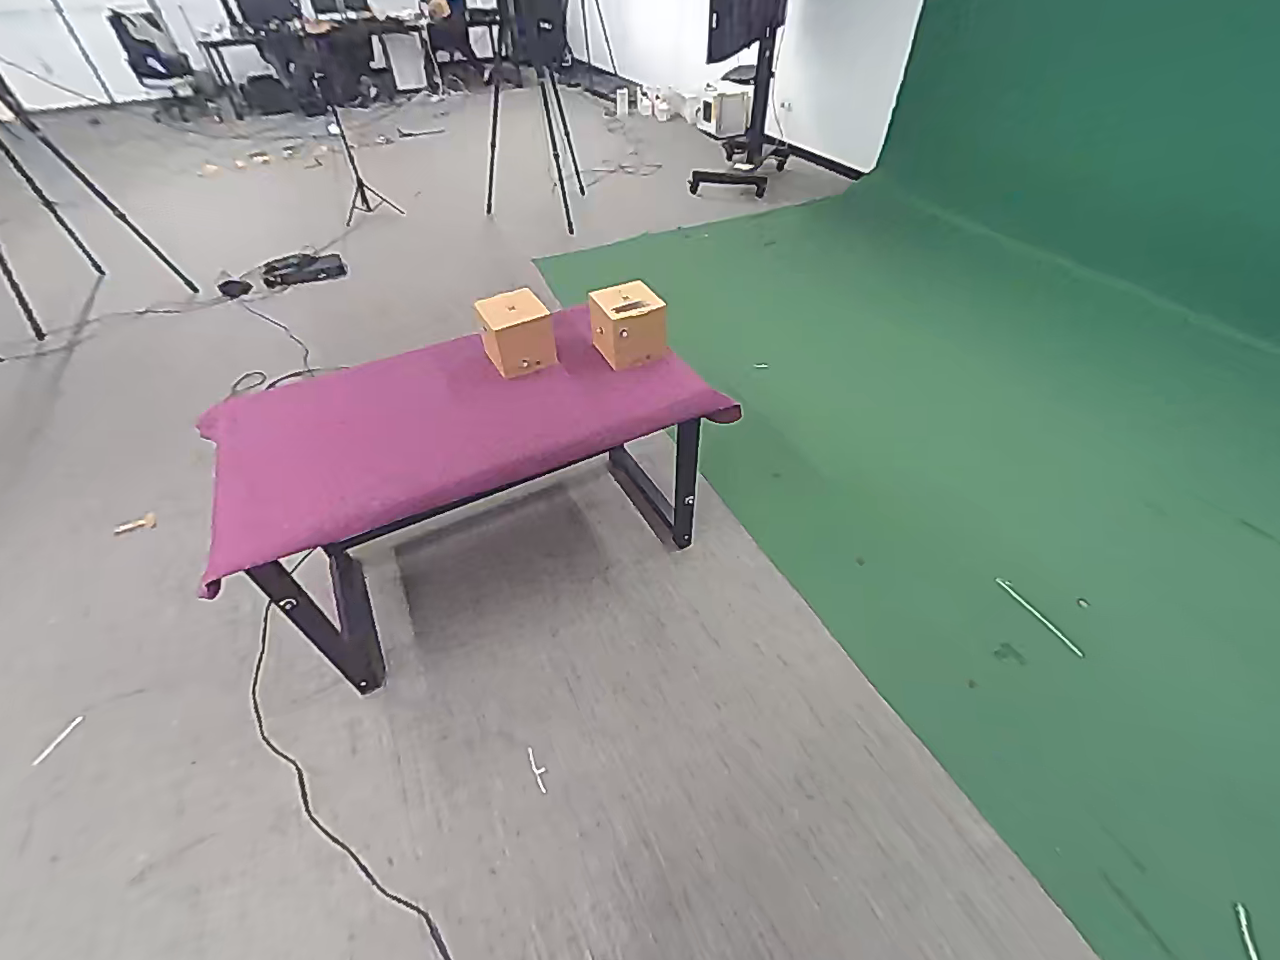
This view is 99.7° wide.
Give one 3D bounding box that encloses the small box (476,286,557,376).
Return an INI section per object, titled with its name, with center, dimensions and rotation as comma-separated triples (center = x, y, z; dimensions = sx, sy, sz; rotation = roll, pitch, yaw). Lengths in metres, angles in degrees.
[small box]
center = -0.349, -0.424, 1.544
dimensions = 0.168, 0.176, 0.179
rotation = -23, 51, -19
